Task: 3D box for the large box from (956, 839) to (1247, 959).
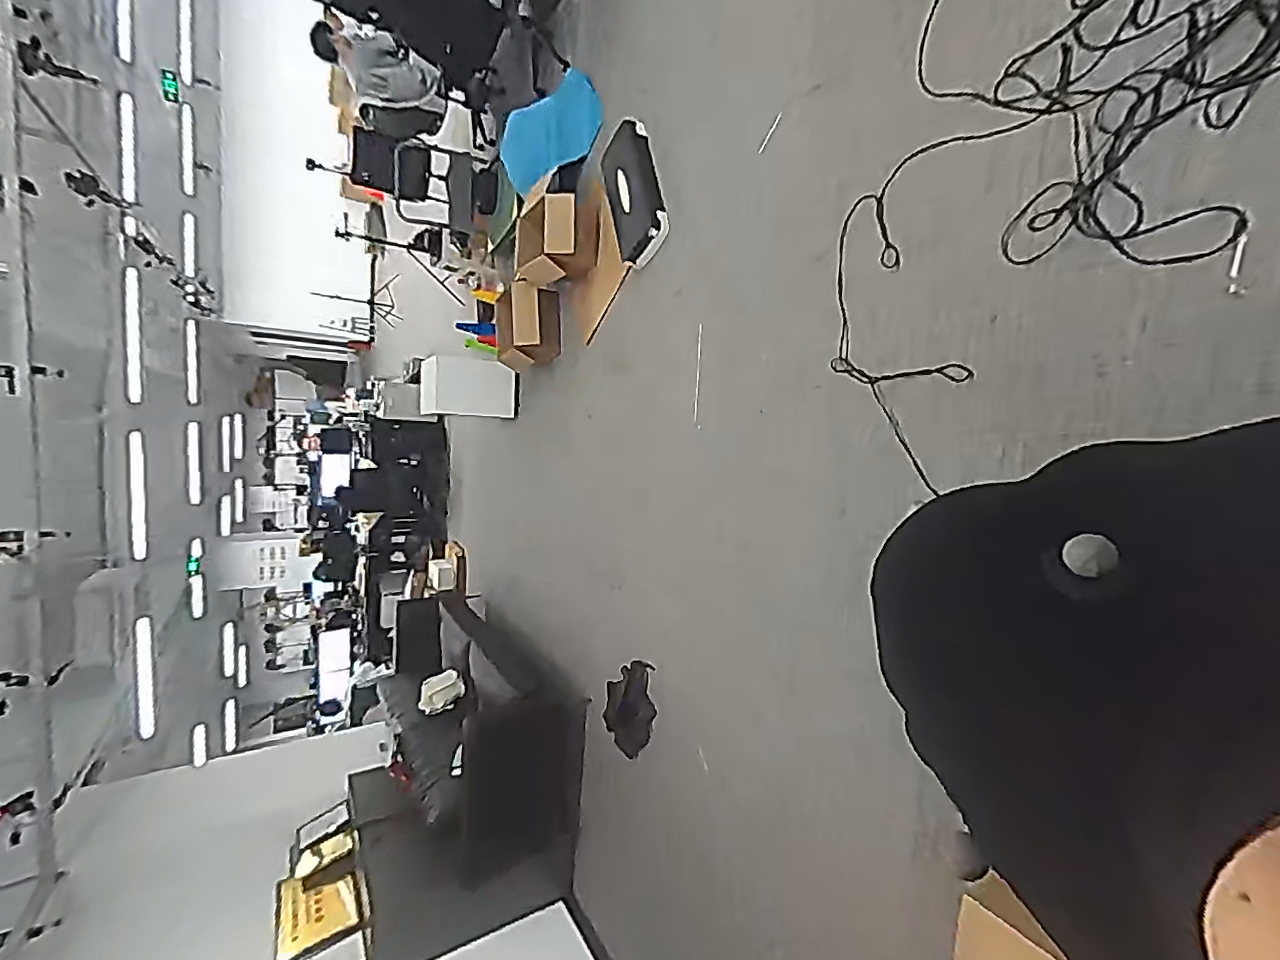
[{"bbox_3d":[0.874,0.985,1.006,0.408,0.320,0.320,12,100,58],"label":"large box"}]
